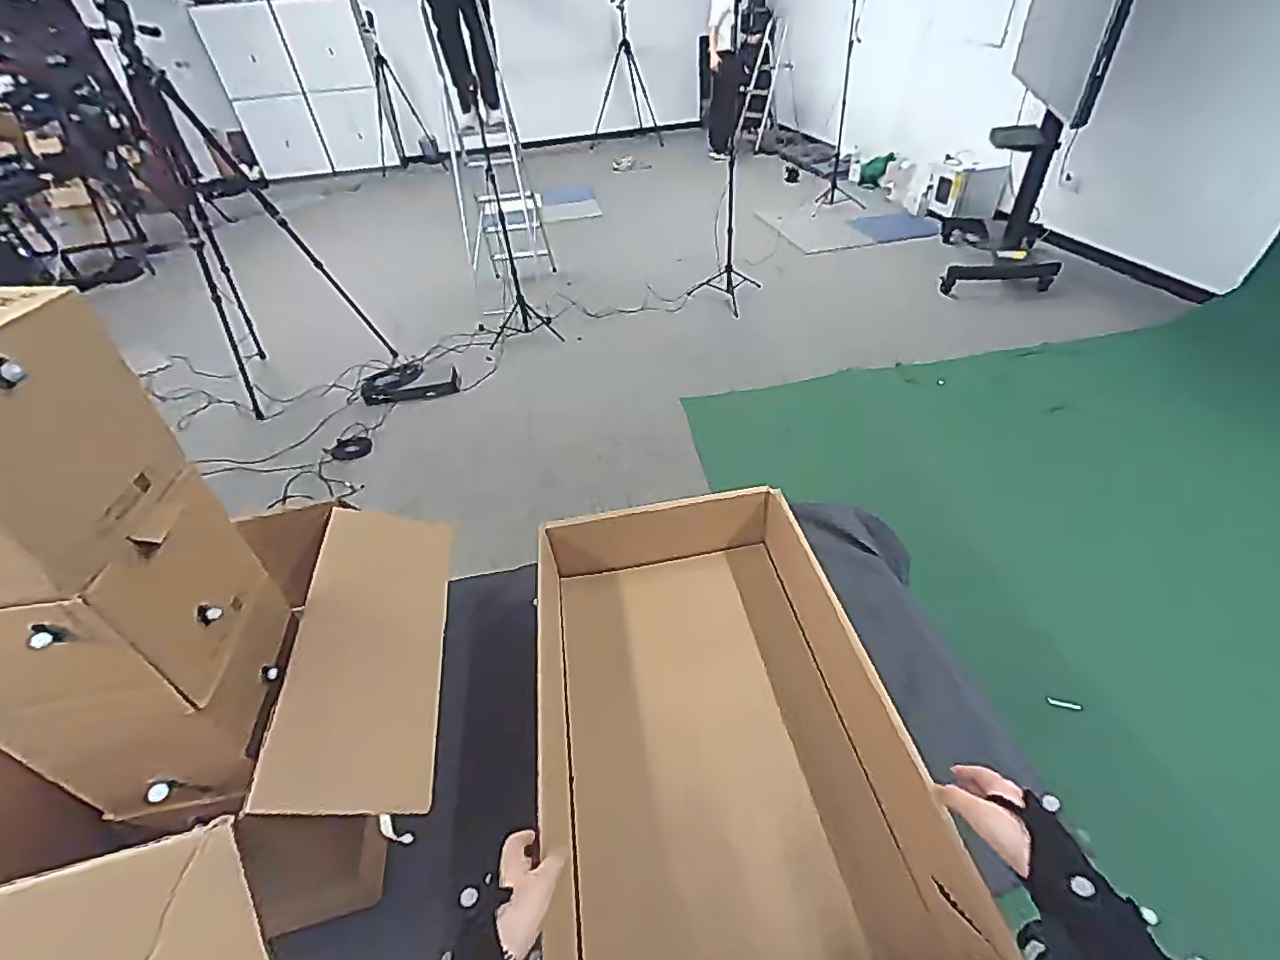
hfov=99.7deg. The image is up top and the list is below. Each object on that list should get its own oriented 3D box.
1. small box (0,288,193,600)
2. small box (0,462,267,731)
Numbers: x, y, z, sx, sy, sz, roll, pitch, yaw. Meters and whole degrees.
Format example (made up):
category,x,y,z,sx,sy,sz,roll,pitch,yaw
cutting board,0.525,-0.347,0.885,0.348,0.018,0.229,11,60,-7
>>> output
category,x,y,z,sx,sy,sz,roll,pitch,yaw
small box,-0.492,-0.024,0.391,0.179,0.176,0.168,-5,40,-6
small box,-0.492,0.105,0.493,0.179,0.176,0.168,-6,40,-8
